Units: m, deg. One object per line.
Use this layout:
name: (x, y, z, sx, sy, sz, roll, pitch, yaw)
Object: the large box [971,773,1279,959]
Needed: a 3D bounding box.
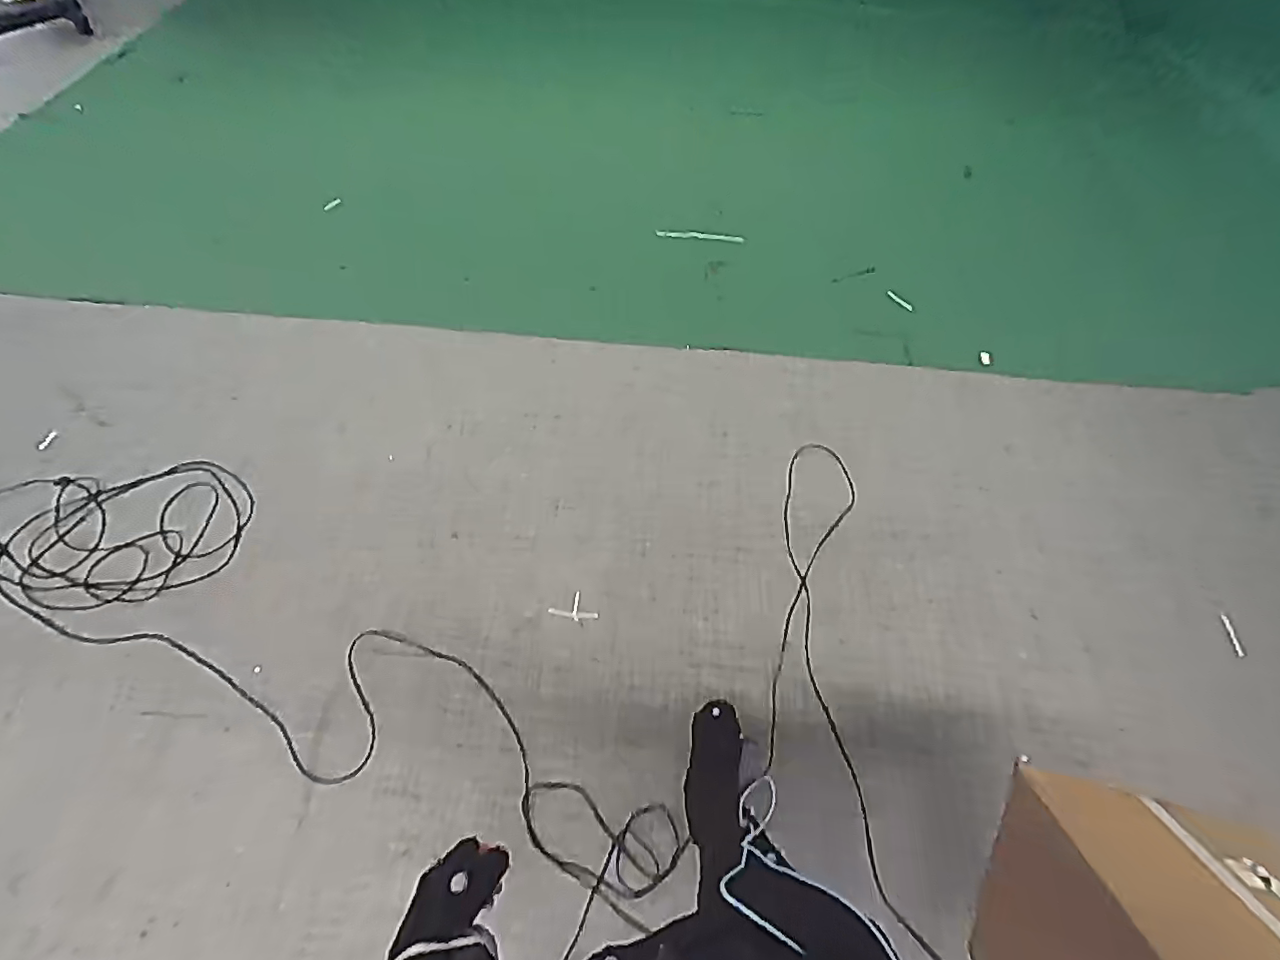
large box: (0.630, 0.624, 0.599, 0.320, 0.408, 0.320, 12, 96, 13)
